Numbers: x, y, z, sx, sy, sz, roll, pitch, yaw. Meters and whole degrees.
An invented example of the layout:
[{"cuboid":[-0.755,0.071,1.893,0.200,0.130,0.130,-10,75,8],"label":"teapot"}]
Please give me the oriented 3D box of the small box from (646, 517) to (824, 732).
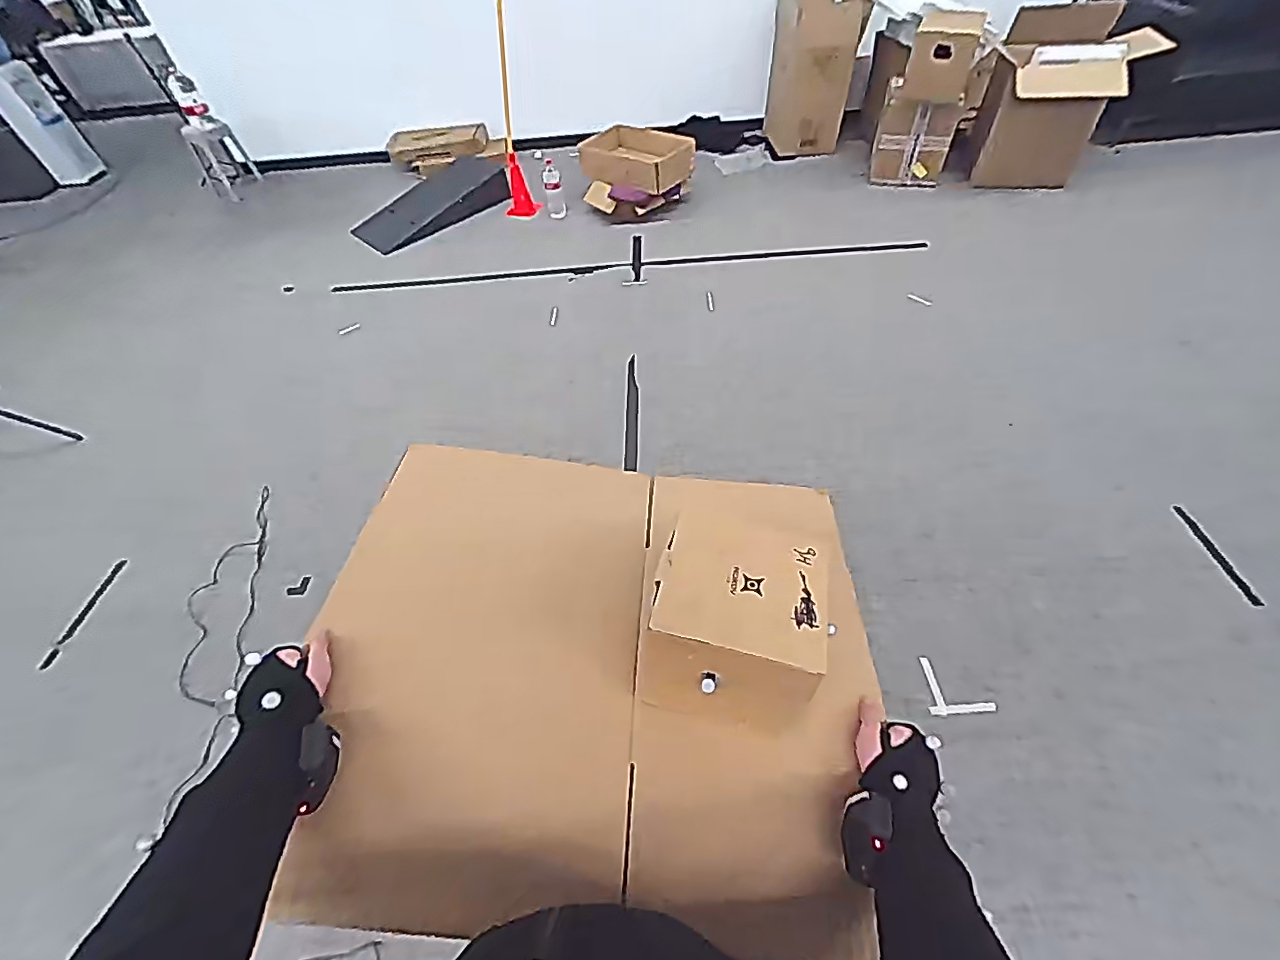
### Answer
[{"cuboid":[0.107,0.171,0.637,0.179,0.176,0.168,11,45,9],"label":"small box"}]
